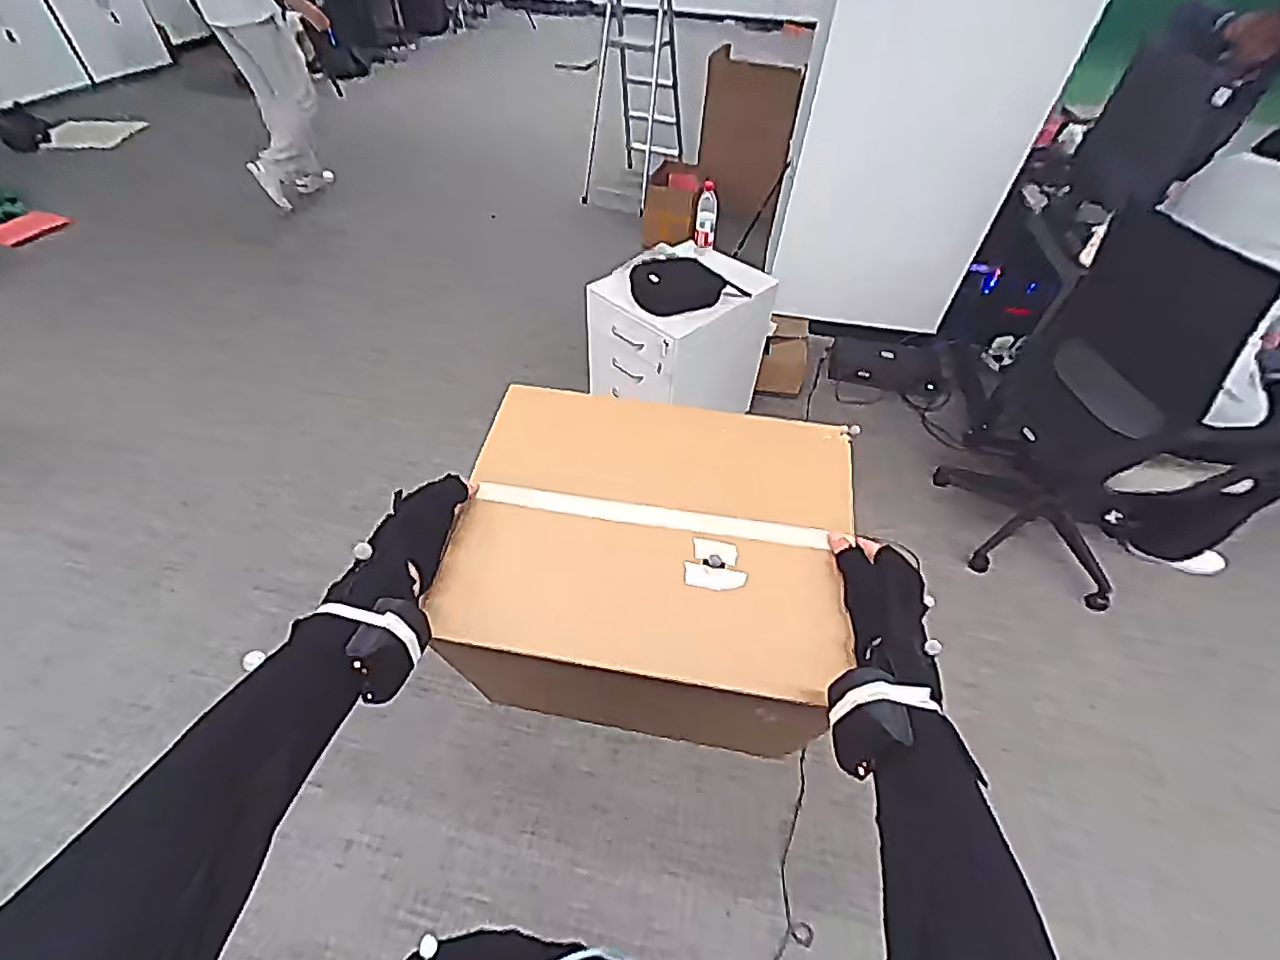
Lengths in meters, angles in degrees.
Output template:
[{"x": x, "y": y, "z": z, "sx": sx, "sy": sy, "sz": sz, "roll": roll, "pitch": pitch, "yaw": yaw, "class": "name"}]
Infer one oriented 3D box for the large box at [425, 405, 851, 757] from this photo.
[{"x": 0.011, "y": 0.137, "z": 0.696, "sx": 0.408, "sy": 0.320, "sz": 0.320, "roll": 8, "pitch": 57, "yaw": 5, "class": "large box"}]
